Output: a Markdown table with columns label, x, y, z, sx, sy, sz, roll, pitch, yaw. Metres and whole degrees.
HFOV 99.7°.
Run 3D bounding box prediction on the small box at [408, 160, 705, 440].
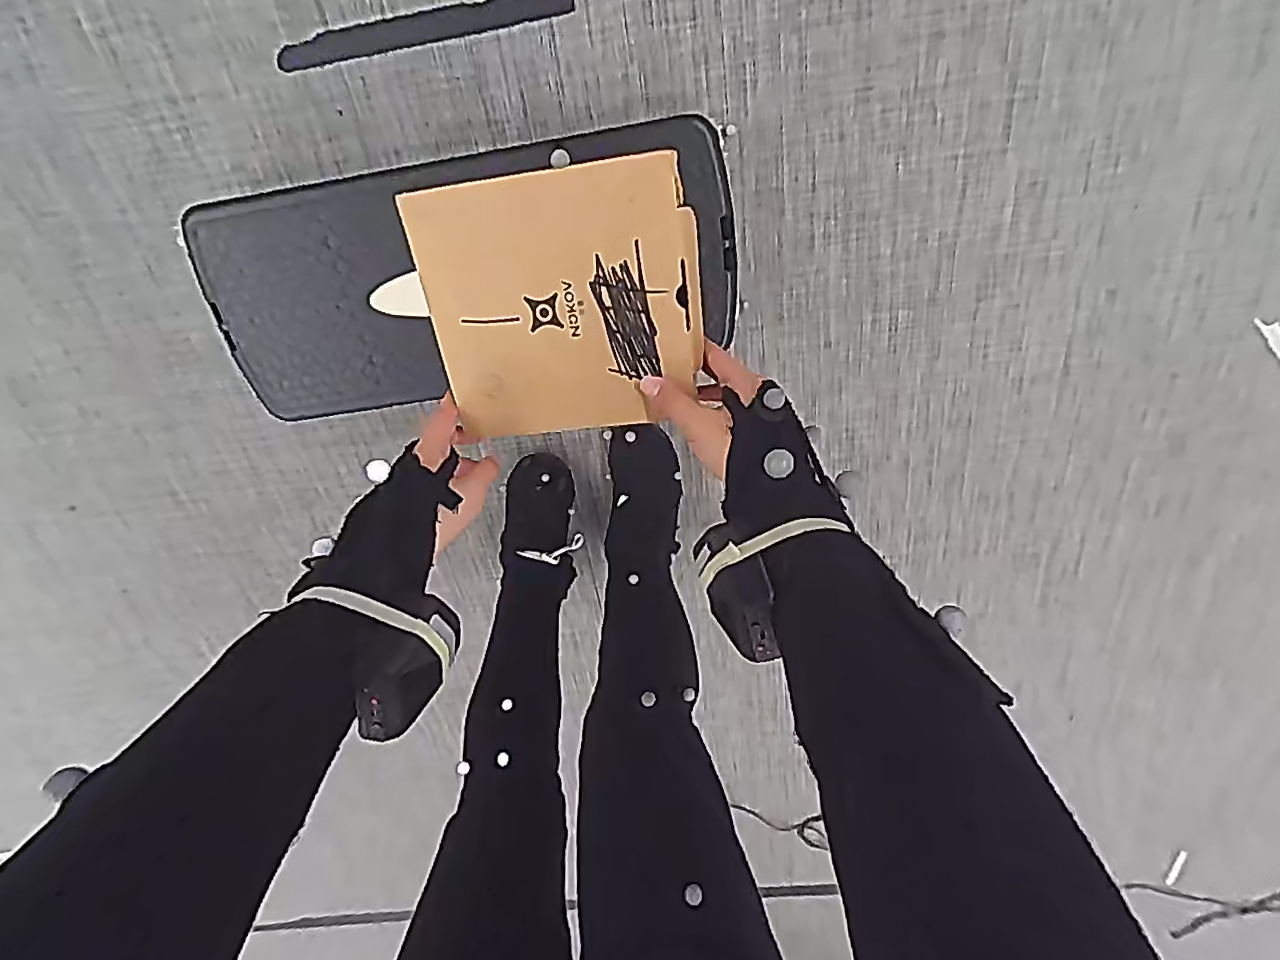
| label | x | y | z | sx | sy | sz | roll | pitch | yaw |
| --- | --- | --- | --- | --- | --- | --- | --- | --- | --- |
| small box | -0.048 | -0.146 | 0.432 | 0.179 | 0.176 | 0.168 | -6 | 115 | 5 |
